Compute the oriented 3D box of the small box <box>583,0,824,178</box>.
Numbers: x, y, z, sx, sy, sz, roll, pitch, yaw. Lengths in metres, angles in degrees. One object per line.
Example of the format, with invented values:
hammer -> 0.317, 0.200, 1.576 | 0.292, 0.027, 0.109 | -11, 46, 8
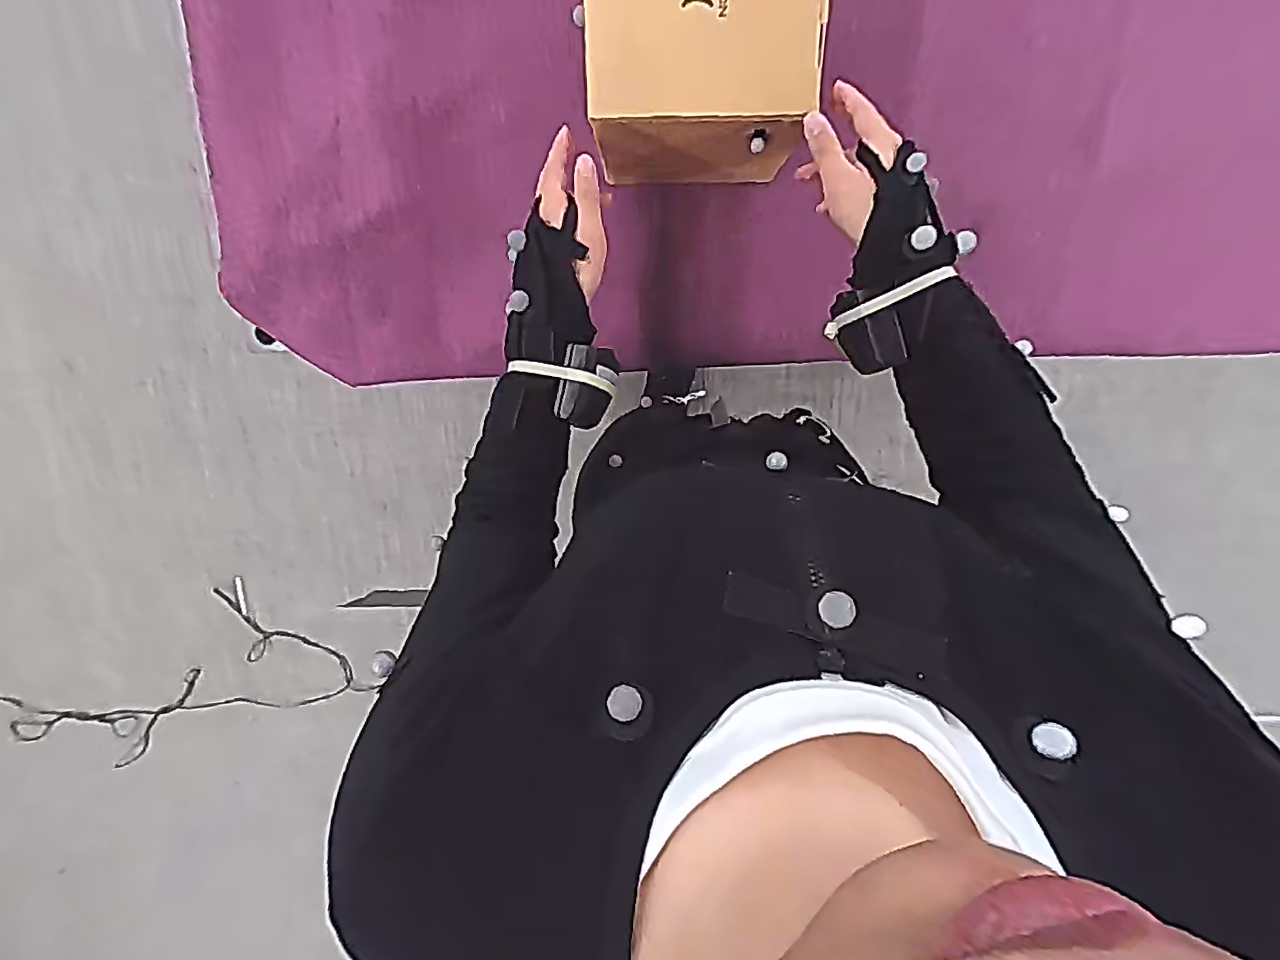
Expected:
small box -> 0.047, -0.374, 0.465 | 0.179, 0.176, 0.168 | -1, 103, 0
